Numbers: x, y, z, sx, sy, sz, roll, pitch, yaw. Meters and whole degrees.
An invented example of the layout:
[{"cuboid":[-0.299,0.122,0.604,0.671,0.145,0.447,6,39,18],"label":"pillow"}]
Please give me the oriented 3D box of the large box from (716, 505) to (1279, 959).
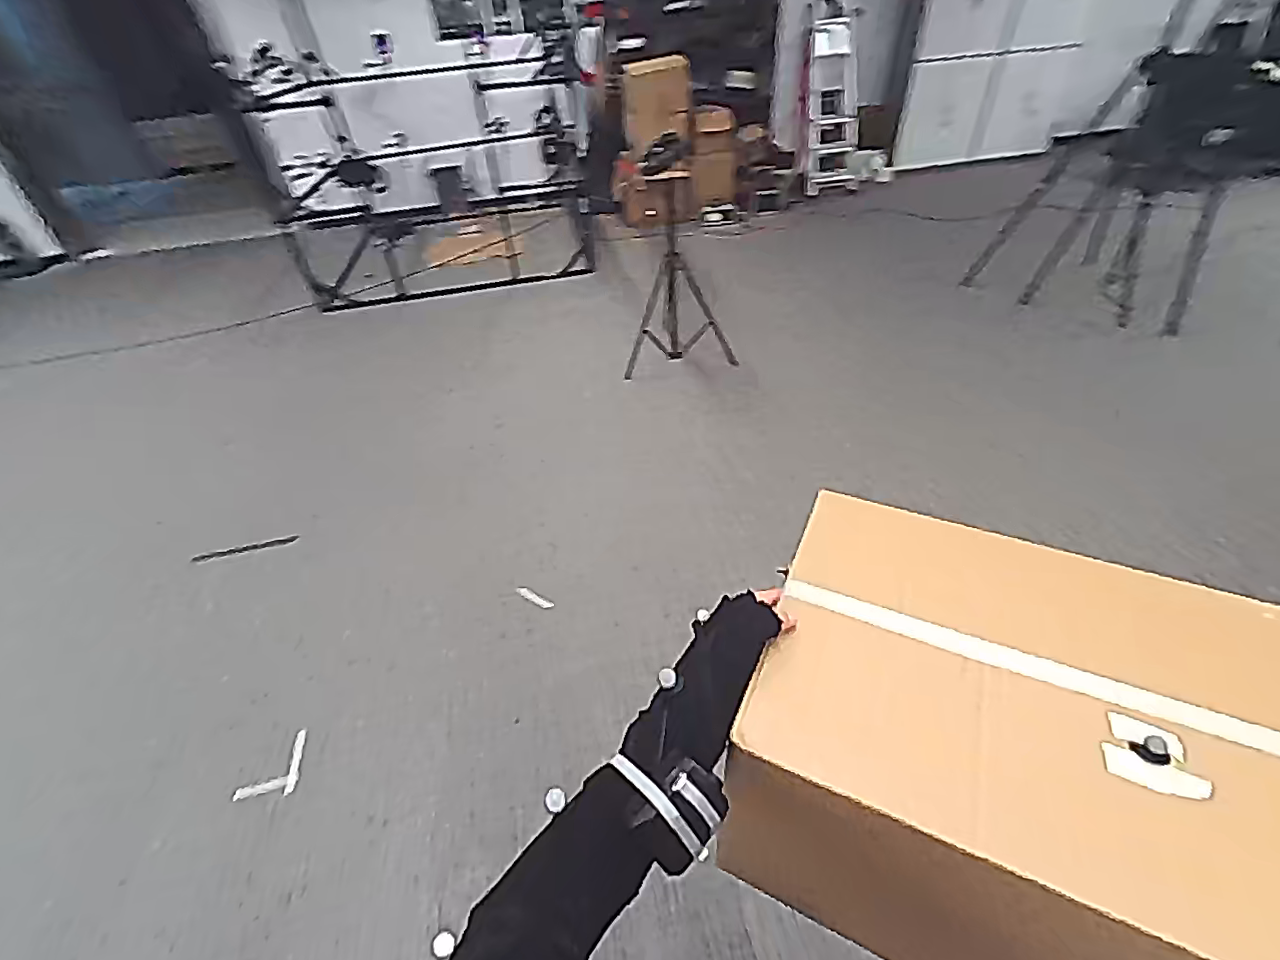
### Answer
[{"cuboid":[0.317,0.276,0.547,0.408,0.320,0.320,15,44,21],"label":"large box"}]
